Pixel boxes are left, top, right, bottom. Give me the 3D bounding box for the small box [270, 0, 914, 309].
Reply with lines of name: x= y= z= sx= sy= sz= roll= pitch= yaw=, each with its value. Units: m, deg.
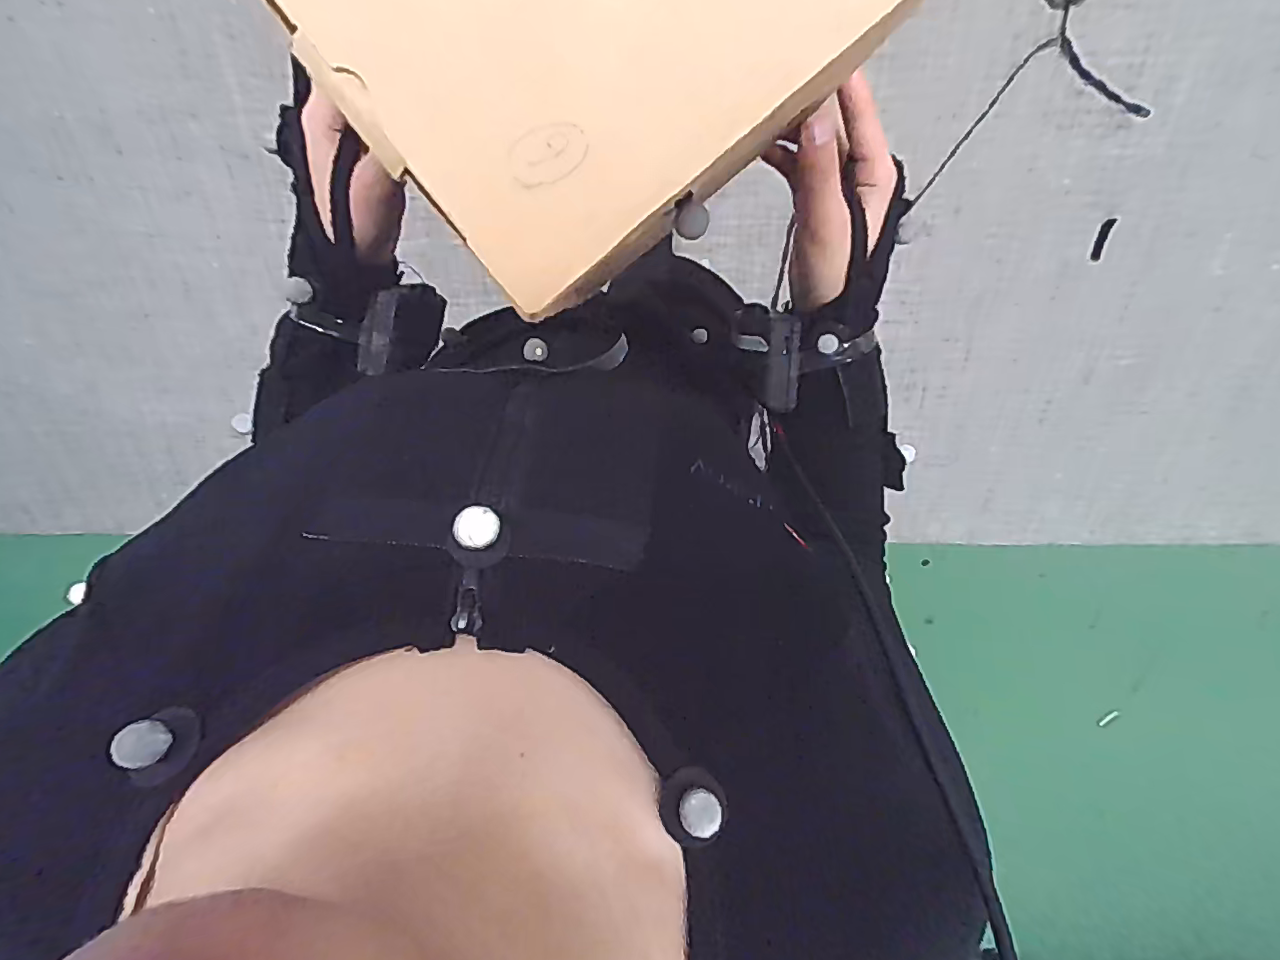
small box: x=-0.016 y=-0.192 z=0.222 sx=0.179 sy=0.176 sz=0.168 roll=-35 pitch=105 yaw=13
